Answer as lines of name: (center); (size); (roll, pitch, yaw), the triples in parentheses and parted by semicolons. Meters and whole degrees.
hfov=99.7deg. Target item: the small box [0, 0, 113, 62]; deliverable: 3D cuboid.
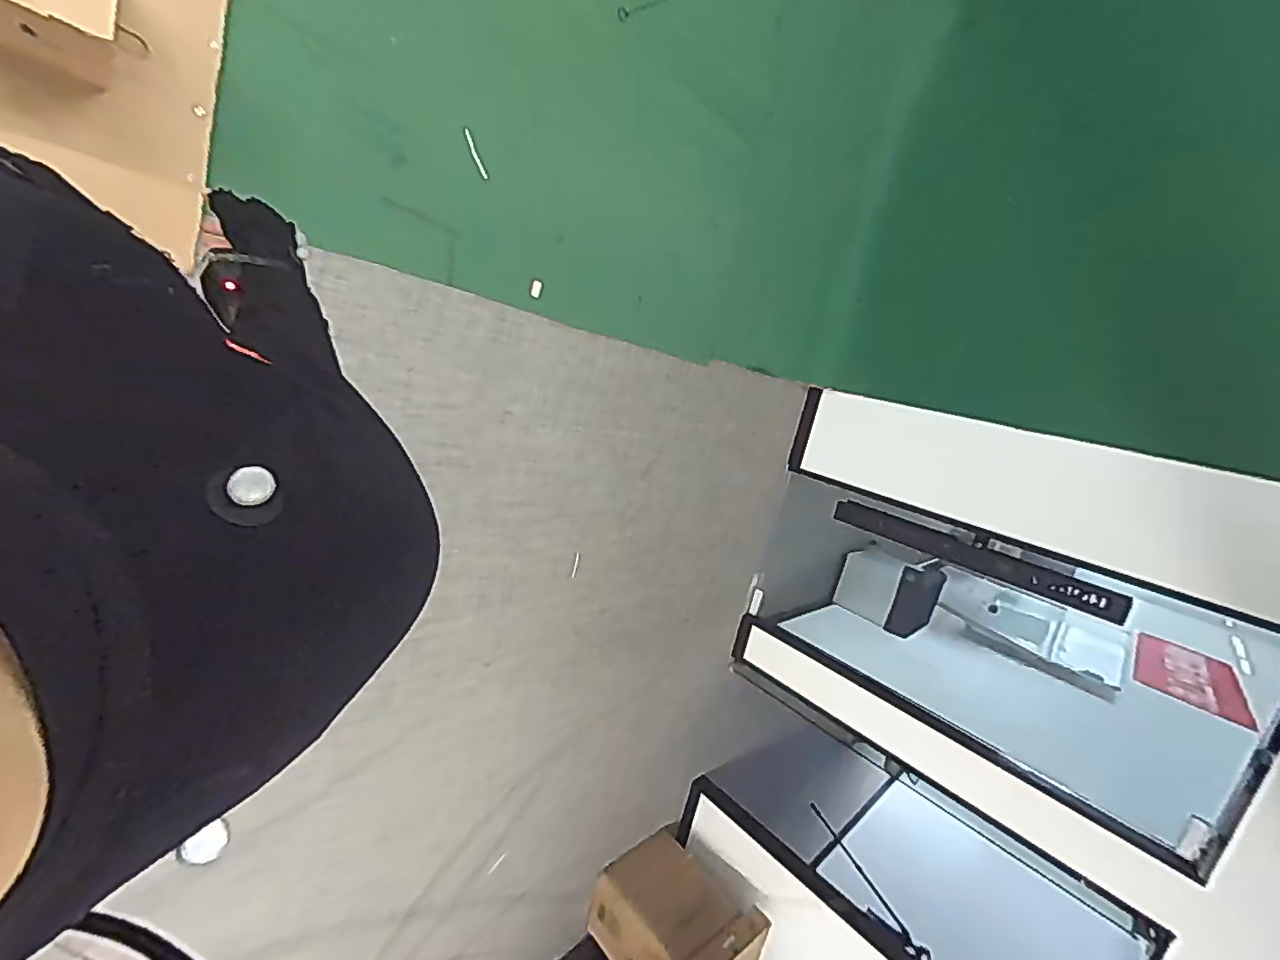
small box: (-0.800, -0.697, 0.702); (0.168, 0.176, 0.179); (5, 103, -46)
